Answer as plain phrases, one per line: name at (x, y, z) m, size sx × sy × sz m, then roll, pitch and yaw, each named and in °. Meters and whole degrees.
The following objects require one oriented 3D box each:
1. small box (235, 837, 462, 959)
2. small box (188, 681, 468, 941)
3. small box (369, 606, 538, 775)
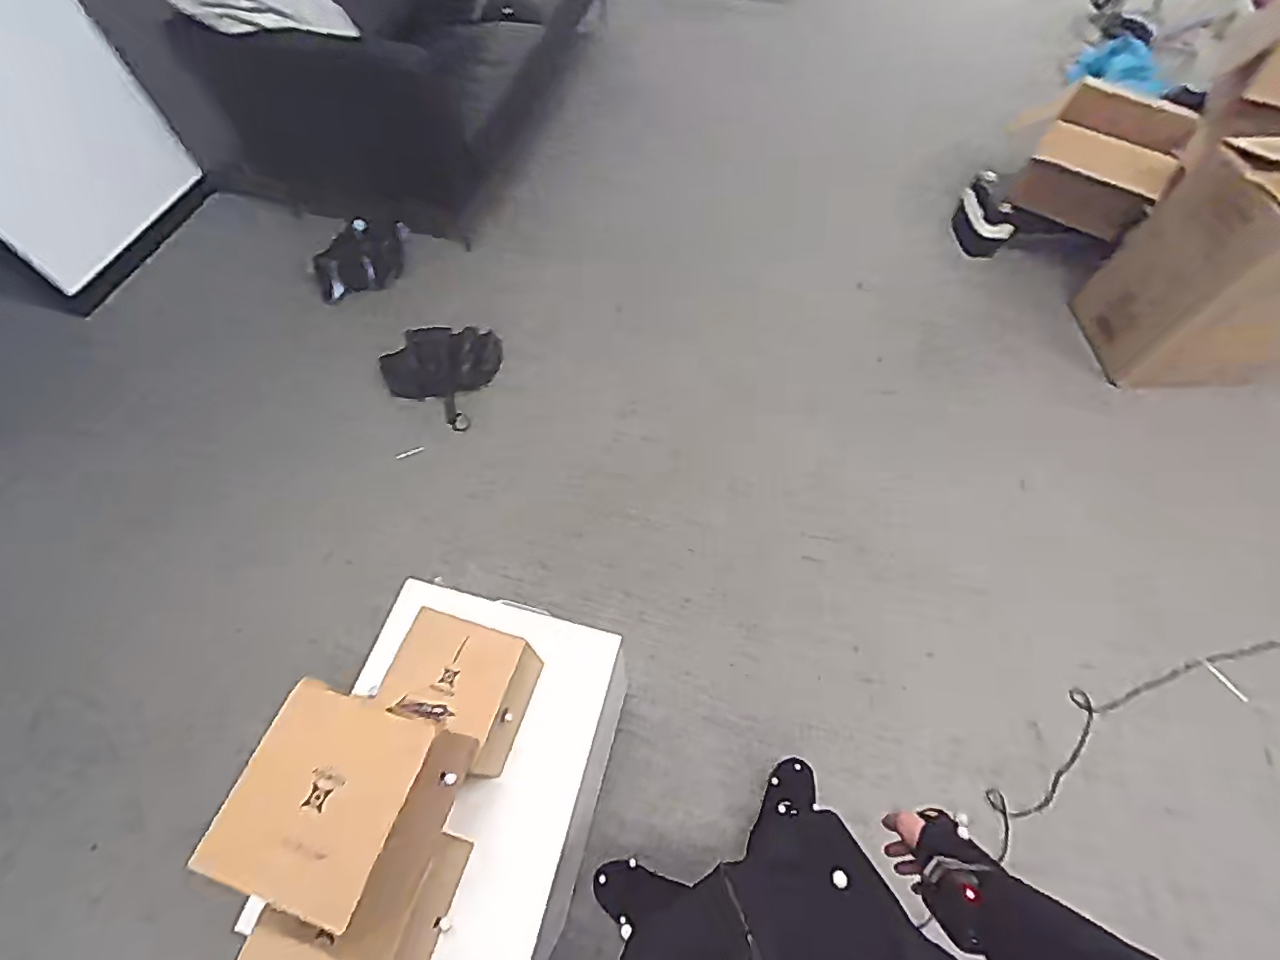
small box at (-0.339, 0.527, 0.664) m, size 0.168 × 0.176 × 0.179 m, roll 13°, pitch 59°, yaw 8°
small box at (-0.307, 0.341, 0.583) m, size 0.168 × 0.176 × 0.179 m, roll 14°, pitch 62°, yaw 9°
small box at (-0.261, 0.311, 0.786) m, size 0.168 × 0.176 × 0.179 m, roll 15°, pitch 61°, yaw 8°
